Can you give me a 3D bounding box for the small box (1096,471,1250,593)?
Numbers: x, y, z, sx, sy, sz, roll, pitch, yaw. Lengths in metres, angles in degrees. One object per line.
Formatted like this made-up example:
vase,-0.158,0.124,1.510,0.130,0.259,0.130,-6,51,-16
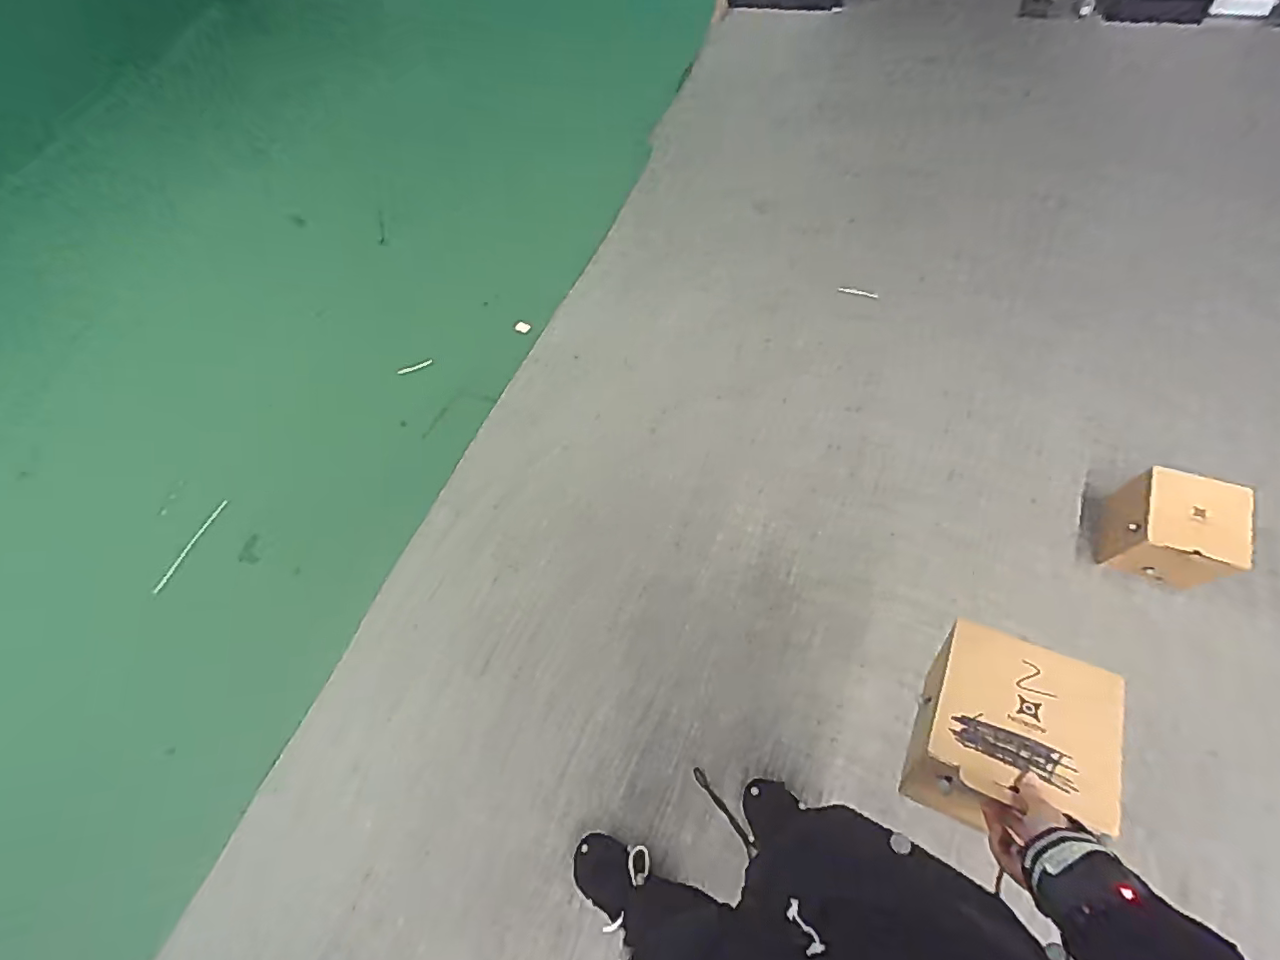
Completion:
small box,1.093,0.111,1.122,0.168,0.176,0.179,18,70,17
